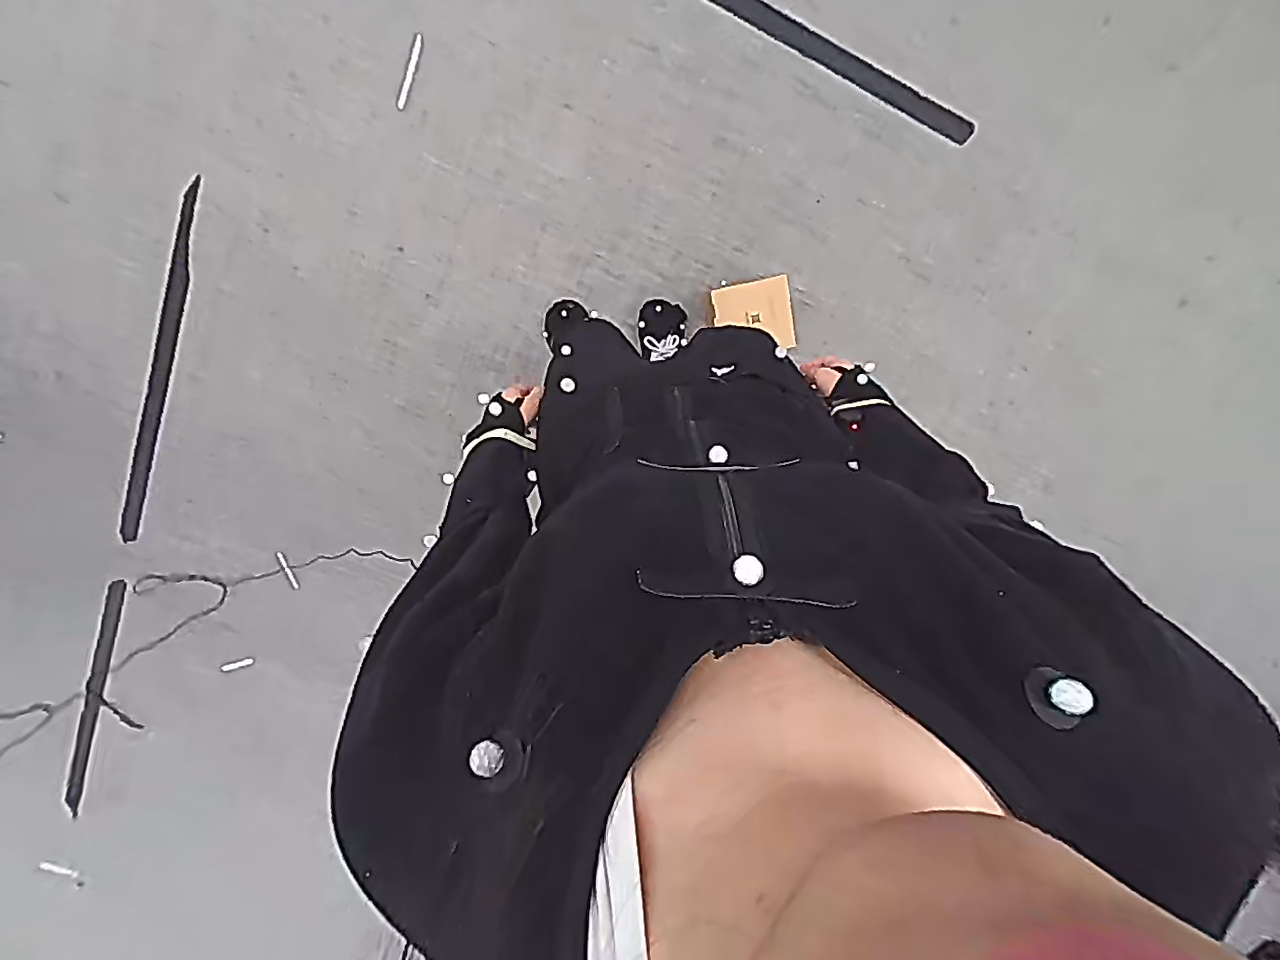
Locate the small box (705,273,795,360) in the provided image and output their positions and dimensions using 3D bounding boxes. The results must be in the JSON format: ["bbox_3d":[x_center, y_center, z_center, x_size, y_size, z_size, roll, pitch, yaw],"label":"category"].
[{"bbox_3d":[0.258,-0.395,1.309,0.179,0.176,0.168,-13,109,3],"label":"small box"}]
